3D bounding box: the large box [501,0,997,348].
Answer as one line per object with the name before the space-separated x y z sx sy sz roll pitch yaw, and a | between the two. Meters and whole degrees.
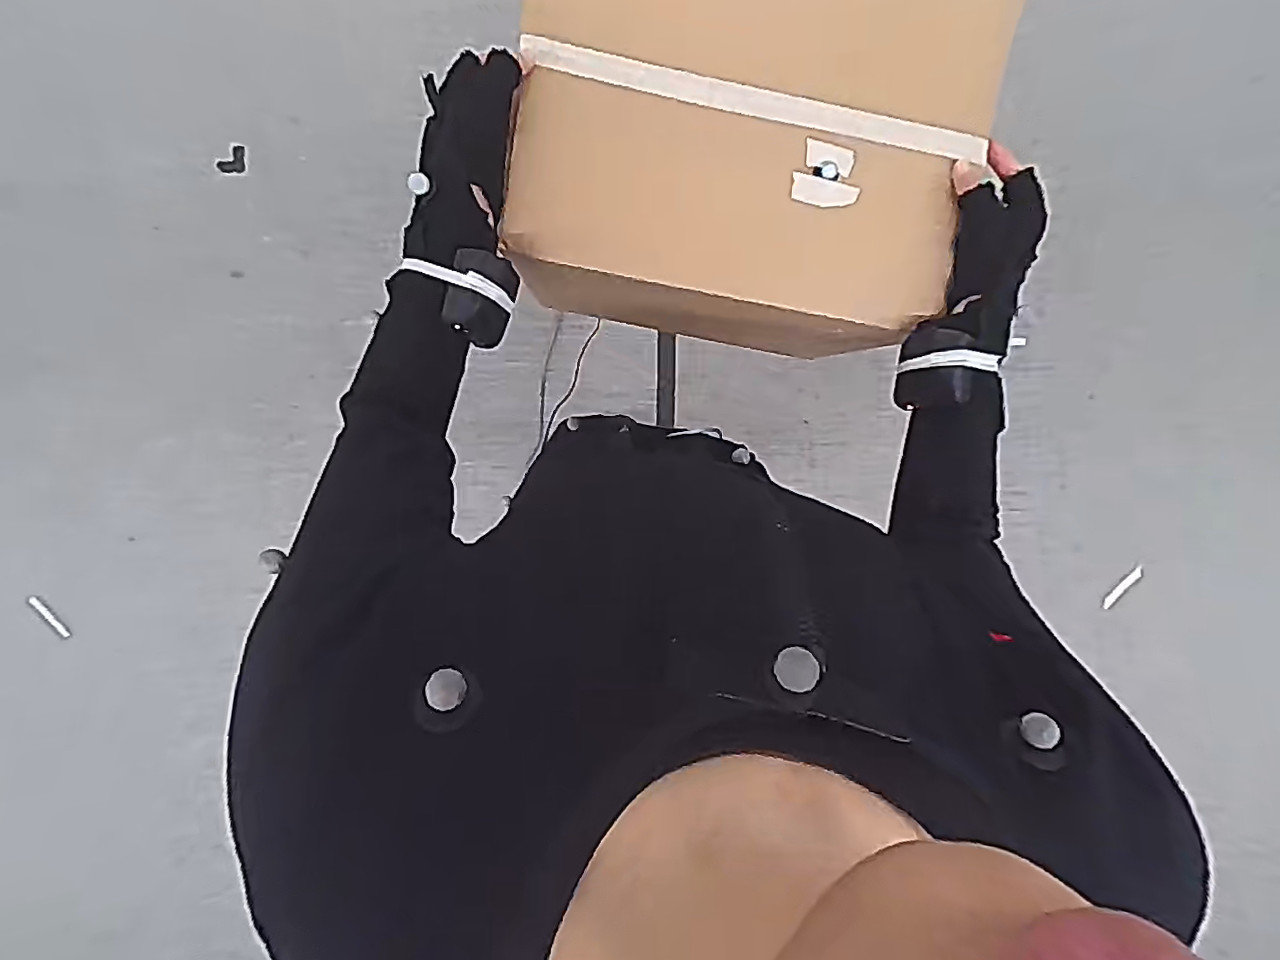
large box | 0.084 -0.347 0.616 0.408 0.320 0.320 9 100 -5
